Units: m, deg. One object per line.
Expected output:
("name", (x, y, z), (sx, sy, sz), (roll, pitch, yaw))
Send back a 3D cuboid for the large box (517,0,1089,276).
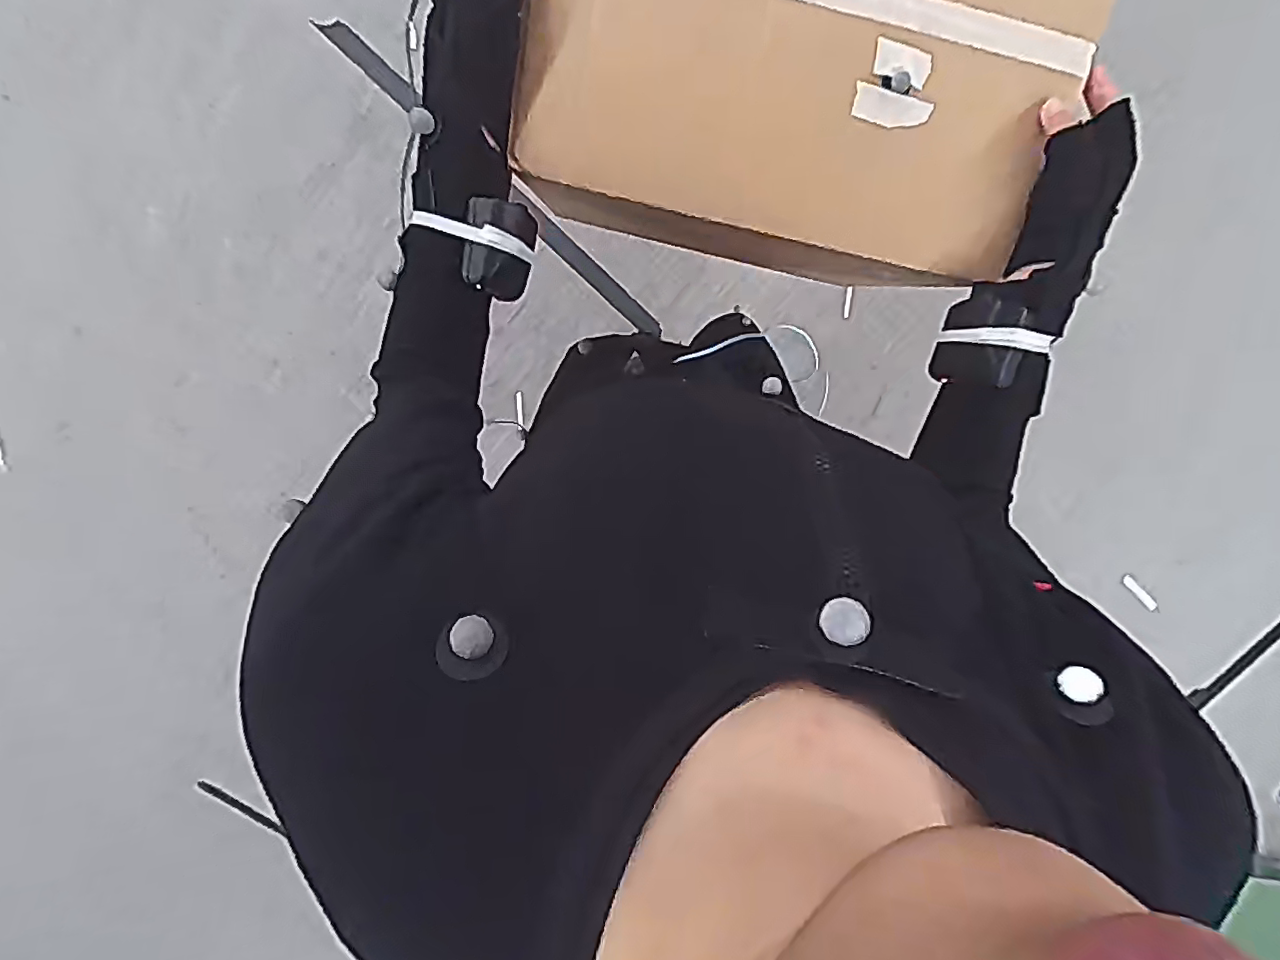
("large box", (0.117, -0.399, 0.527), (0.408, 0.320, 0.320), (10, 110, -7))
